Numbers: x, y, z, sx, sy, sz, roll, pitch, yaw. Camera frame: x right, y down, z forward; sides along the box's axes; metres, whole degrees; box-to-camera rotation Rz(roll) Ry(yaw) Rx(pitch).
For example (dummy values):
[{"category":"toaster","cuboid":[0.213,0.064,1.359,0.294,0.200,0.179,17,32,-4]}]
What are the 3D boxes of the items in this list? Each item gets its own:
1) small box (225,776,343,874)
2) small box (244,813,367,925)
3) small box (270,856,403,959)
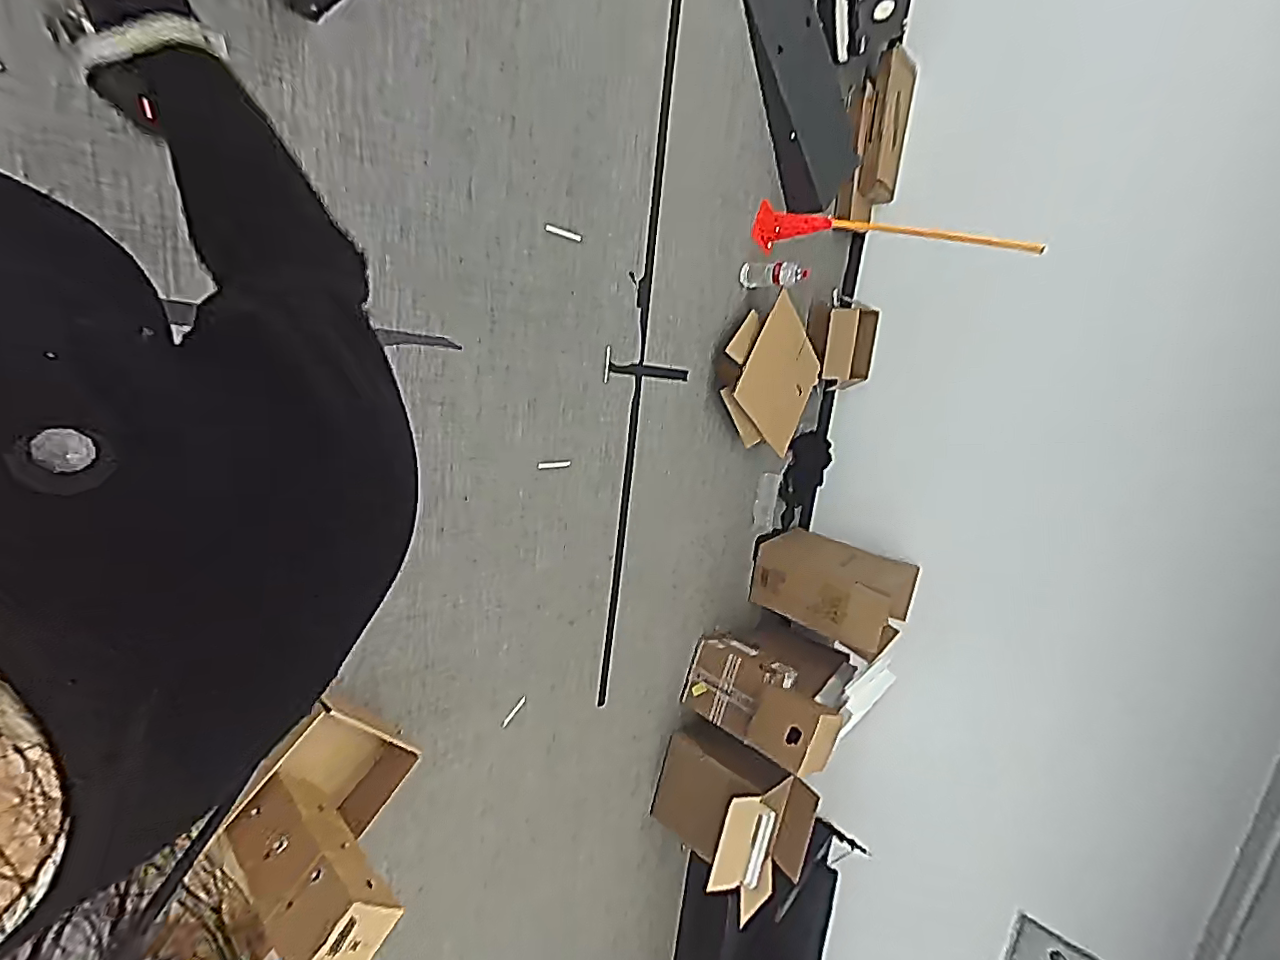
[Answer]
[{"category":"small box","cuboid":[-0.944,0.924,1.435,0.168,0.176,0.179,-51,137,-26]},{"category":"small box","cuboid":[-0.822,0.964,1.336,0.168,0.176,0.179,-53,137,-25]},{"category":"small box","cuboid":[-0.696,1.003,1.239,0.168,0.176,0.179,-53,139,-24]}]
